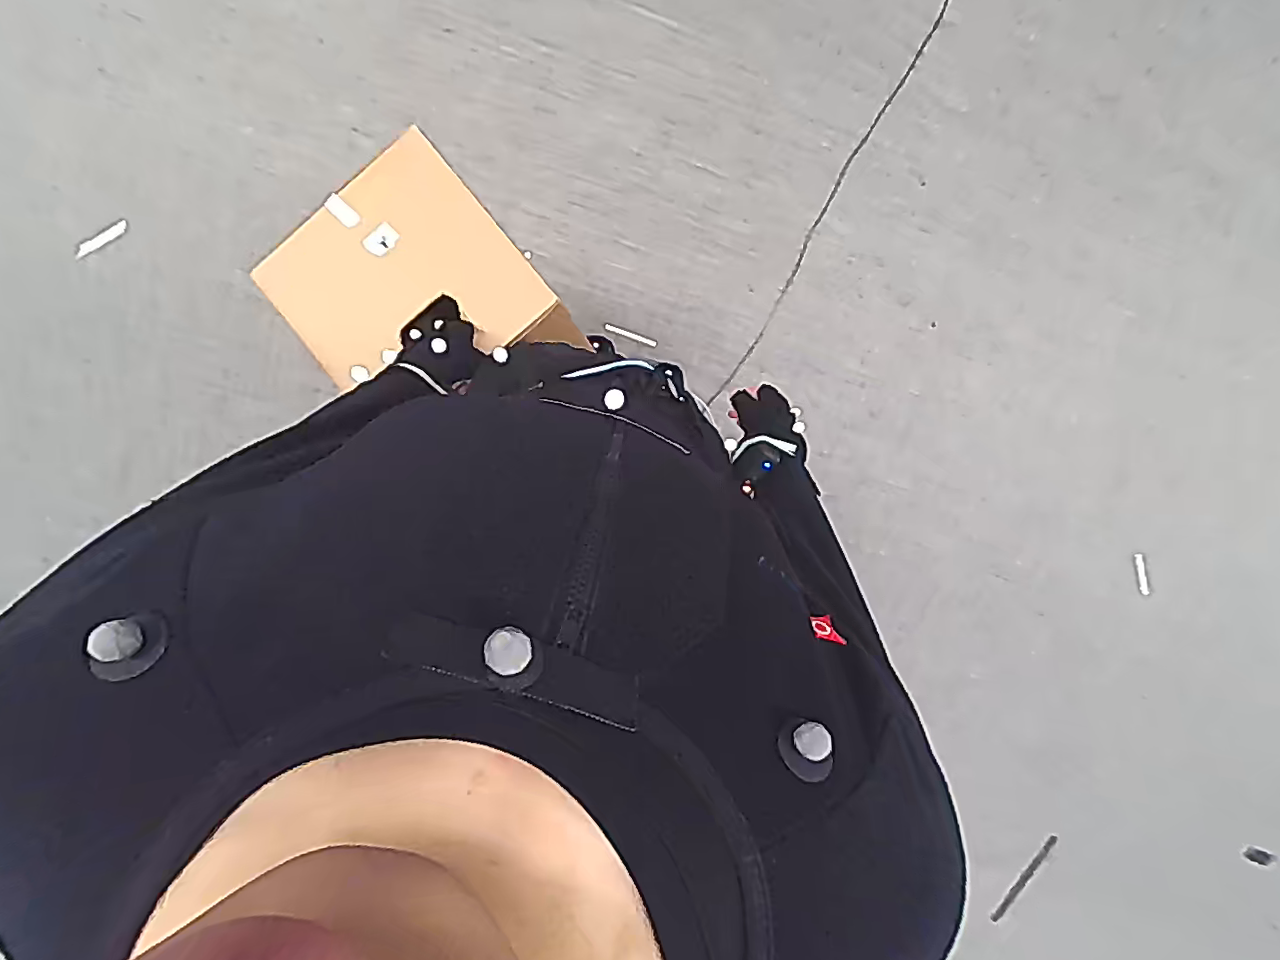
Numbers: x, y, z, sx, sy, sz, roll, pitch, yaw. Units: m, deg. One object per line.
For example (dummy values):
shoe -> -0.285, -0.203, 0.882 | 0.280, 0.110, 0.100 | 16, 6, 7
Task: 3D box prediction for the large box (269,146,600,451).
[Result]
large box -> -0.307, -0.264, 0.940 | 0.320, 0.408, 0.320 | -39, 90, 4
